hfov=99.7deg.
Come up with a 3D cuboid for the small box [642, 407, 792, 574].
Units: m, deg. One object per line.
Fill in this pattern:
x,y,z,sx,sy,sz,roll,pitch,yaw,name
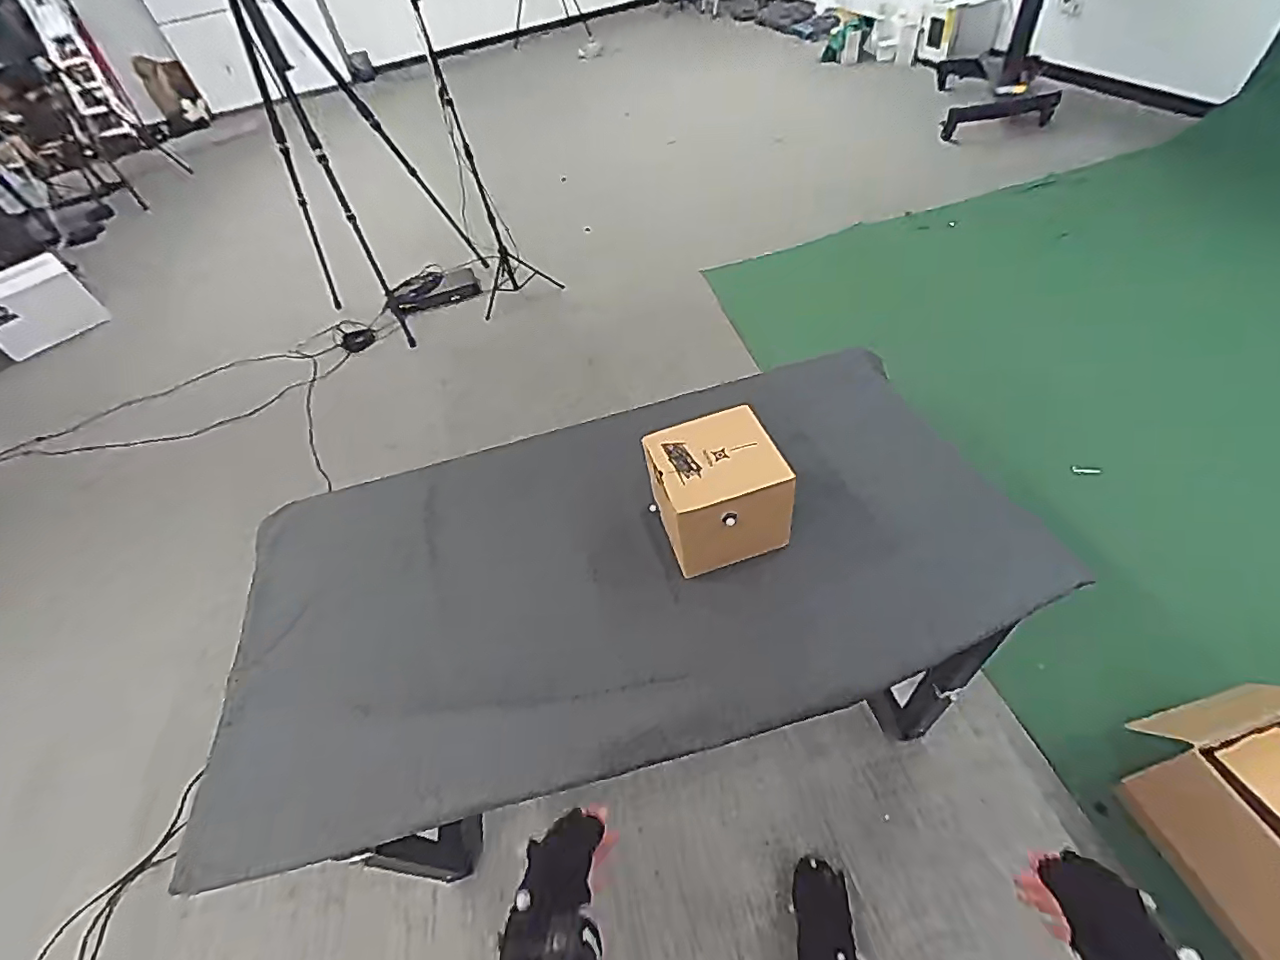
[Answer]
0.118,0.021,0.839,0.179,0.176,0.168,-18,49,-4,small box
